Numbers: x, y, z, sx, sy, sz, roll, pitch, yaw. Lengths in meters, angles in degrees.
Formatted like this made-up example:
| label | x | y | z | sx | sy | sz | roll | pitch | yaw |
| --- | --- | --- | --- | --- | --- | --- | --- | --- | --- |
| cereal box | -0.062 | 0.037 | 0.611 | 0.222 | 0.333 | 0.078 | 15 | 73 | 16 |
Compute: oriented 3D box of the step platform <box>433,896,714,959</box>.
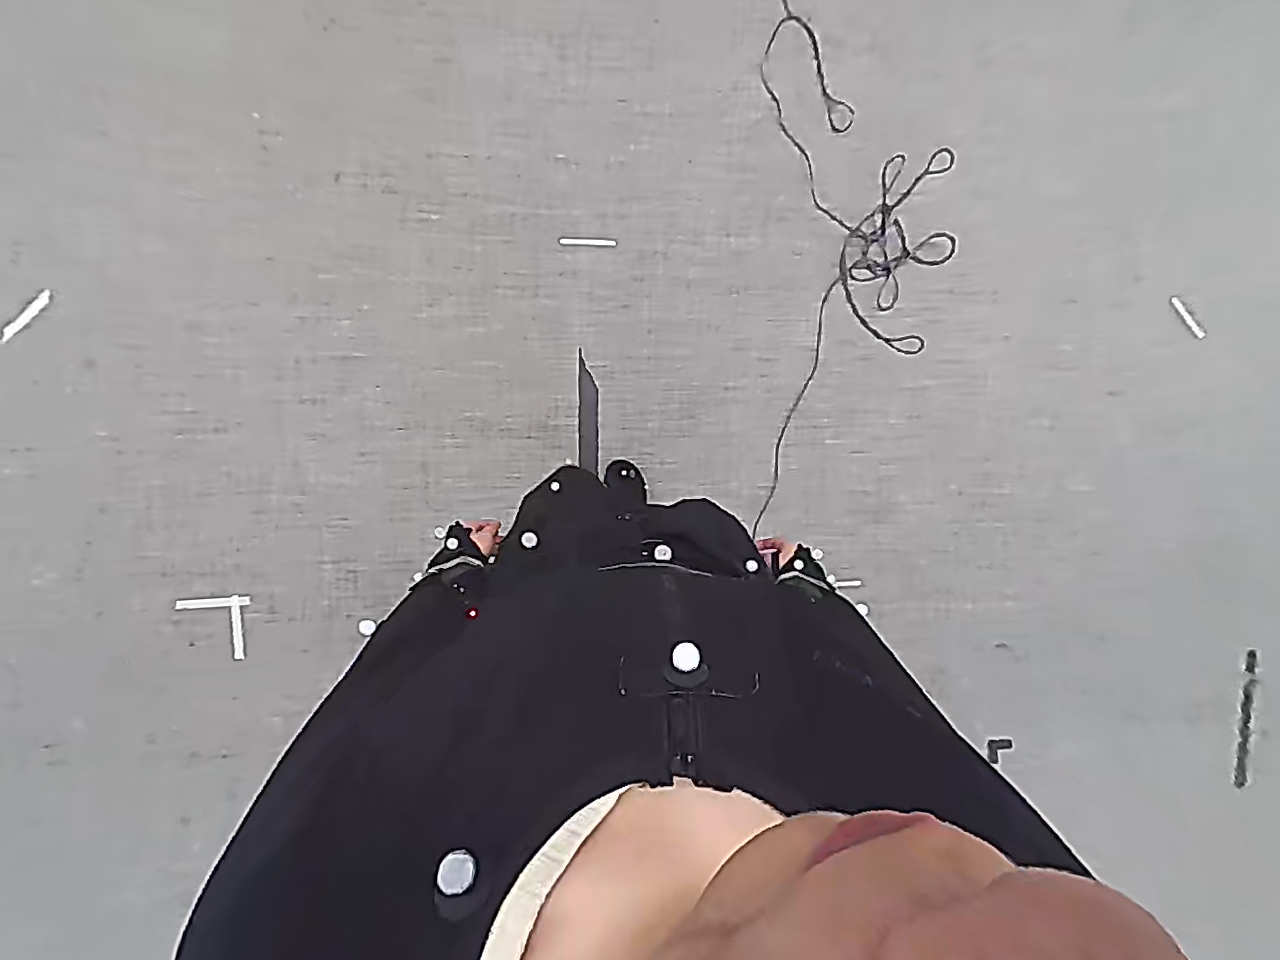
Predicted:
| label | x | y | z | sx | sy | sz | roll | pitch | yaw |
| --- | --- | --- | --- | --- | --- | --- | --- | --- | --- |
| step platform | -0.159 | 1.221 | 1.300 | 0.684 | 0.204 | 0.286 | 4 | 91 | -2 |
